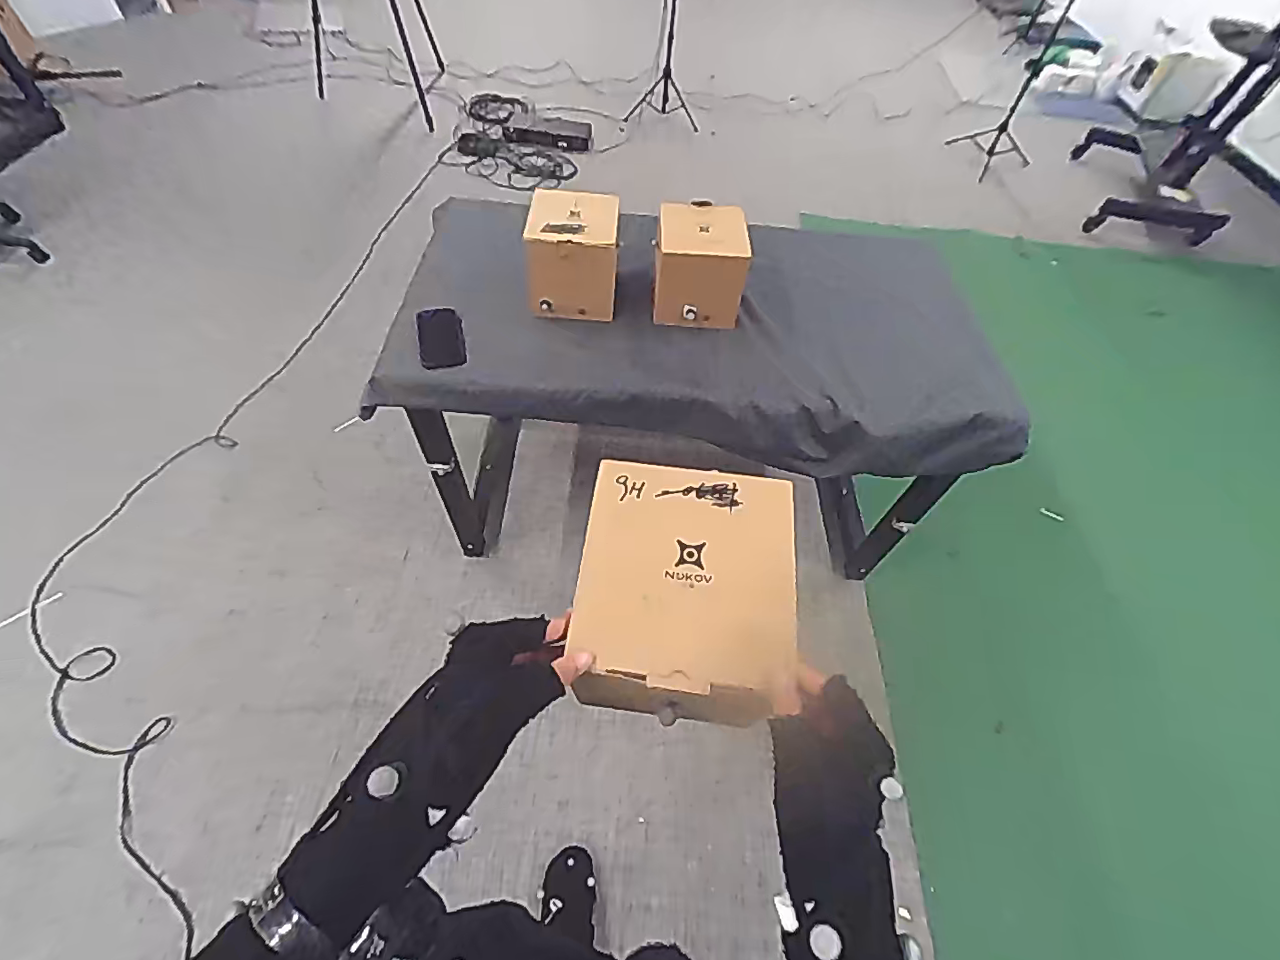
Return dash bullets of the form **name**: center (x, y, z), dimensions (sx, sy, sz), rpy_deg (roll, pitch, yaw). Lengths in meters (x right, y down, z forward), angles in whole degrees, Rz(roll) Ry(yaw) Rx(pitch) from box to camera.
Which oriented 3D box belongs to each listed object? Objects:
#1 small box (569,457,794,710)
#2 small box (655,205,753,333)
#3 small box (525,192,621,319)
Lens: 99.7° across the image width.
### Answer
- **small box**: center (0.038, 0.103, 0.496), dimensions (0.168, 0.176, 0.179), rpy_deg (7, 60, 2)
- **small box**: center (0.118, -0.422, 1.087), dimensions (0.168, 0.176, 0.179), rpy_deg (2, 56, -3)
- **small box**: center (-0.126, -0.440, 1.071), dimensions (0.168, 0.176, 0.179), rpy_deg (4, 54, -3)
